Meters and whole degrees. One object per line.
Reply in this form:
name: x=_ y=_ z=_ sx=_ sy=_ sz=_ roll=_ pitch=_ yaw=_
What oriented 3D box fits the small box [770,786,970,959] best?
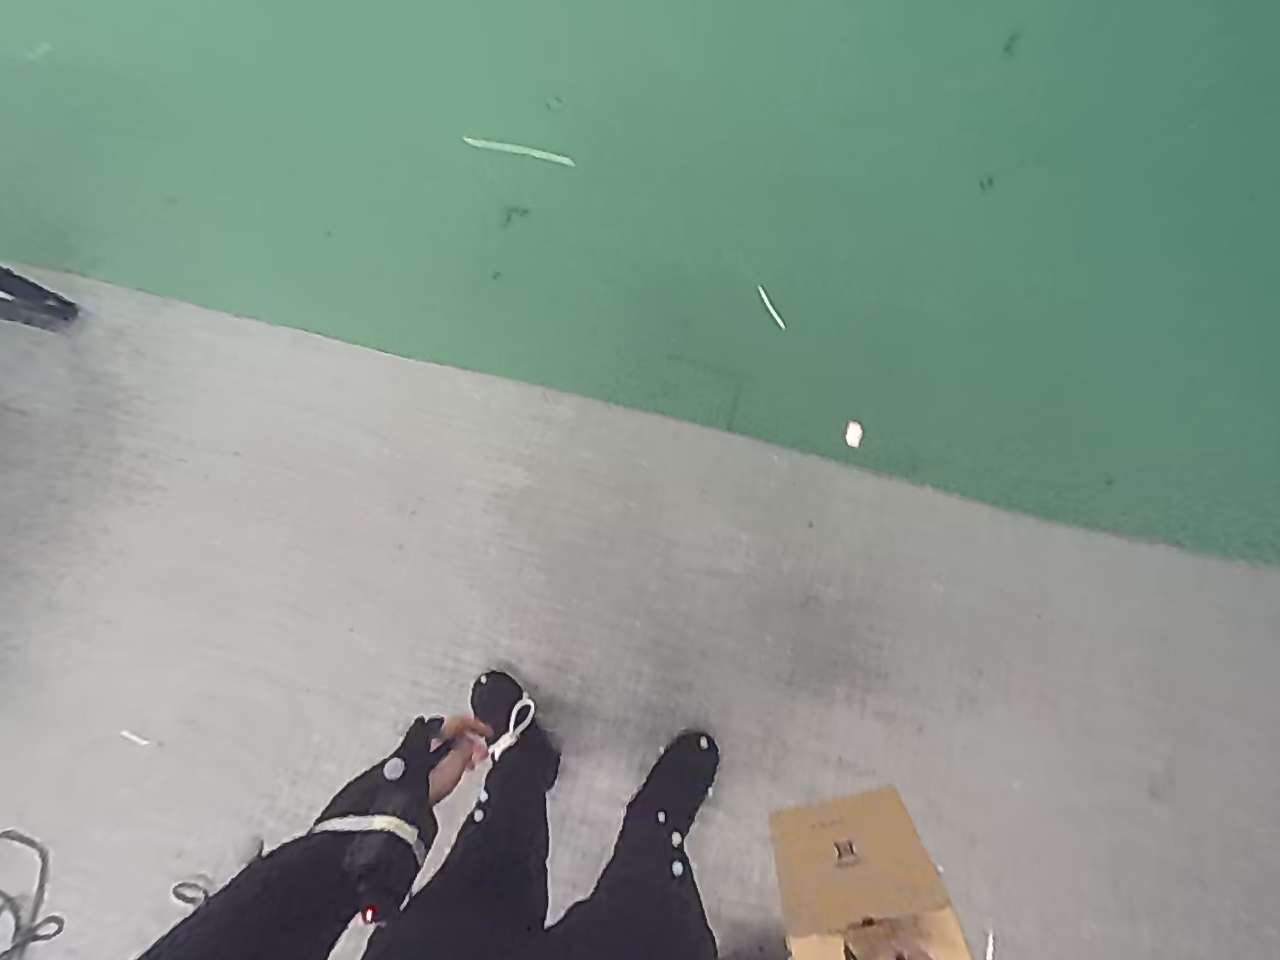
small box: x=0.258 y=0.490 z=0.602 sx=0.168 sy=0.179 sz=0.176 roll=-20 pitch=94 yaw=10
